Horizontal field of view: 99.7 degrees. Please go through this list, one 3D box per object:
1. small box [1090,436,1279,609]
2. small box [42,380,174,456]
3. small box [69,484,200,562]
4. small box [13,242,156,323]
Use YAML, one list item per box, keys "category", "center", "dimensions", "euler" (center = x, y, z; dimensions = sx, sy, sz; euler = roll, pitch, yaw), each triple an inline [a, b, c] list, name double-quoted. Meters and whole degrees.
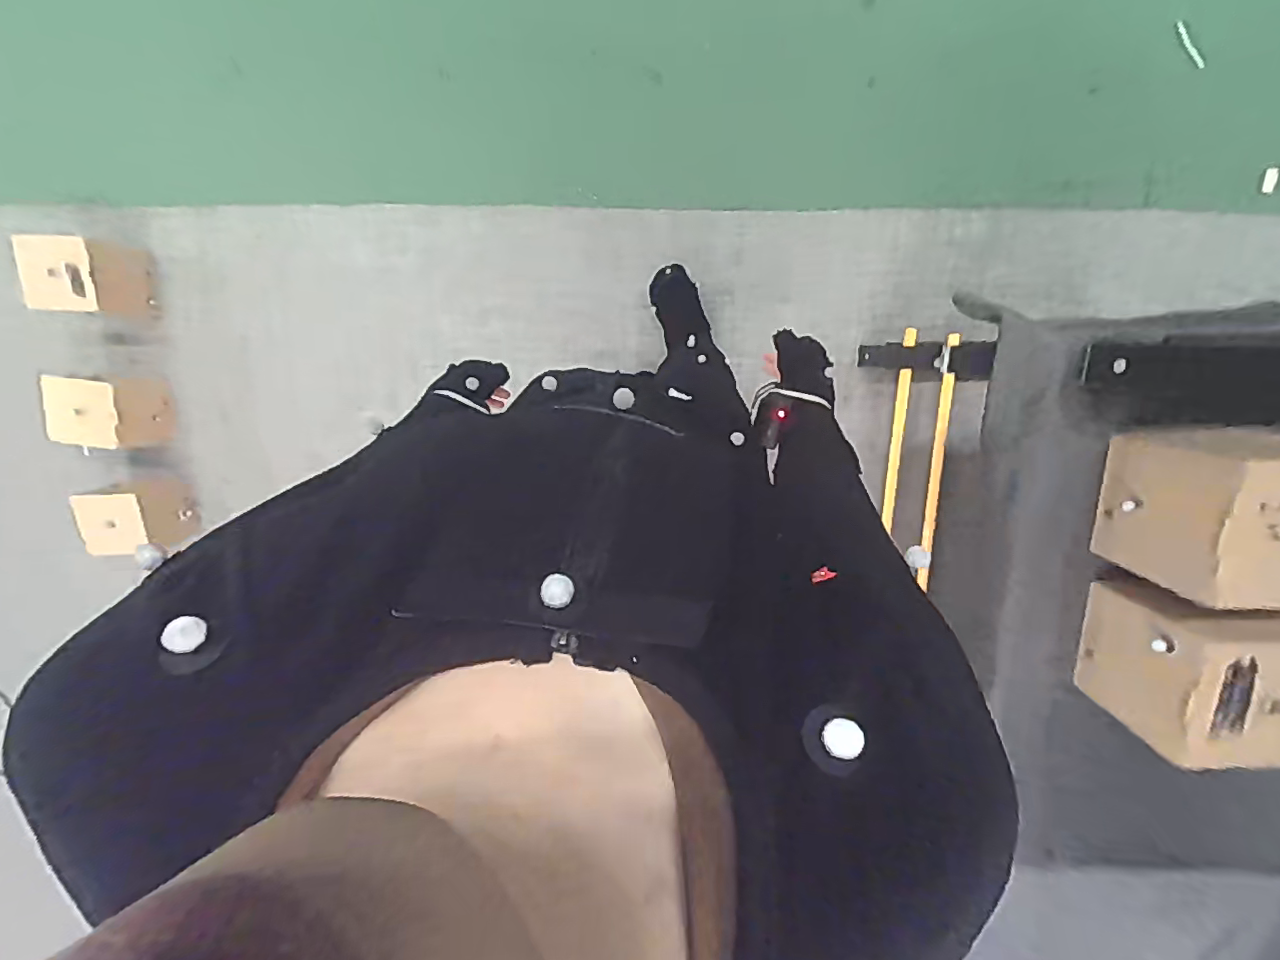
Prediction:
- category: "small box"
  center: [0.702, 0.041, 0.647]
  dimensions: [0.179, 0.176, 0.168]
  euler: [-1, 104, 1]
- category: "small box"
  center: [-1.362, -0.166, 1.396]
  dimensions: [0.179, 0.176, 0.168]
  euler: [7, 103, -1]
- category: "small box"
  center: [-1.354, 0.112, 1.460]
  dimensions: [0.179, 0.176, 0.168]
  euler: [-2, 105, 0]
- category: "small box"
  center: [-1.338, -0.476, 1.322]
  dimensions: [0.179, 0.176, 0.168]
  euler: [3, 103, 1]
